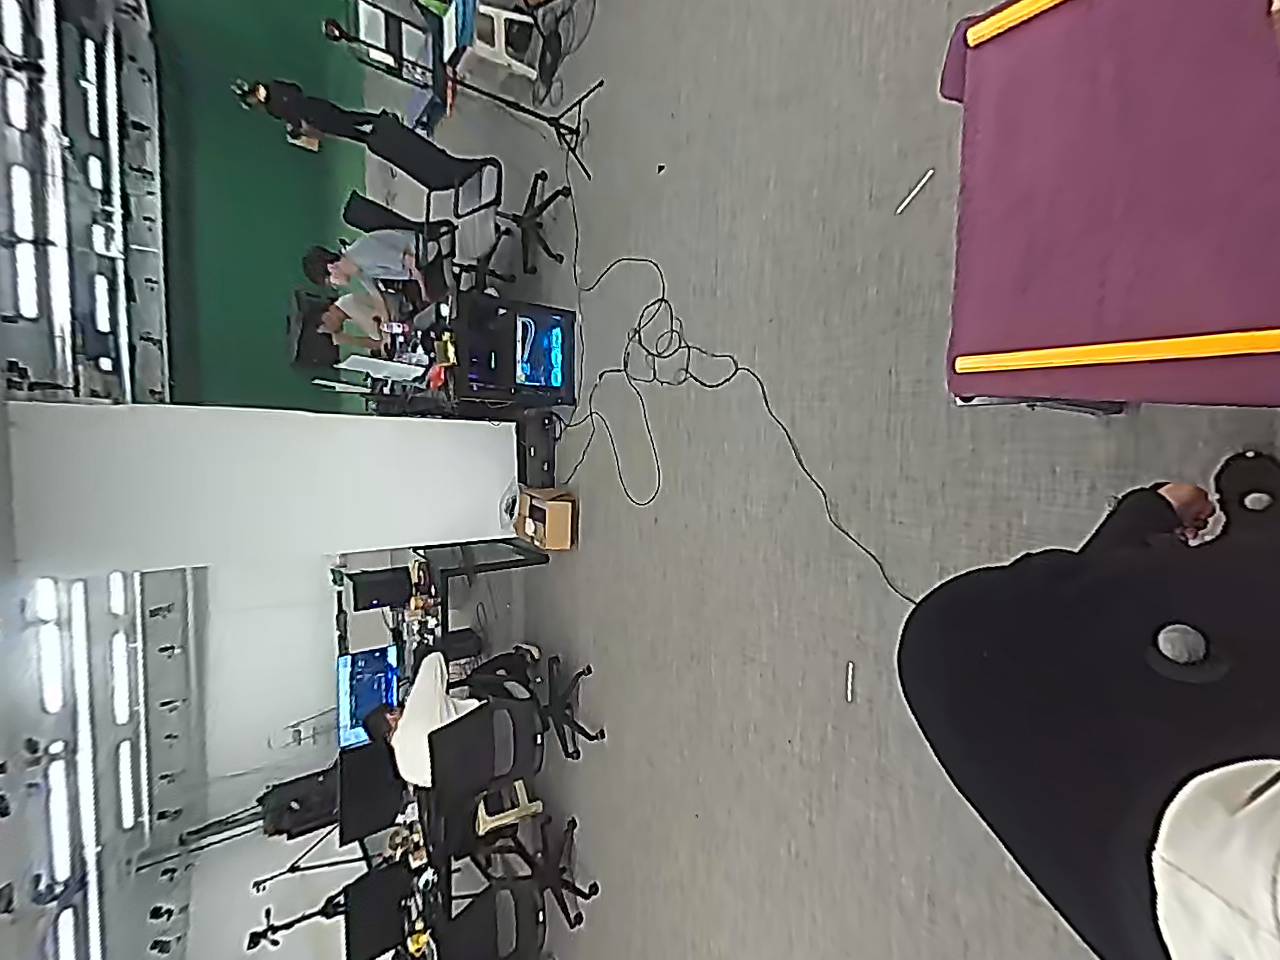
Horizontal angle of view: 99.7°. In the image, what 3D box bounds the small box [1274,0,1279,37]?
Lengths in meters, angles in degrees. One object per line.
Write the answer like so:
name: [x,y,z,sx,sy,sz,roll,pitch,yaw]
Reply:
small box: [0.710,-0.536,0.492,0.168,0.176,0.179,3,95,53]
